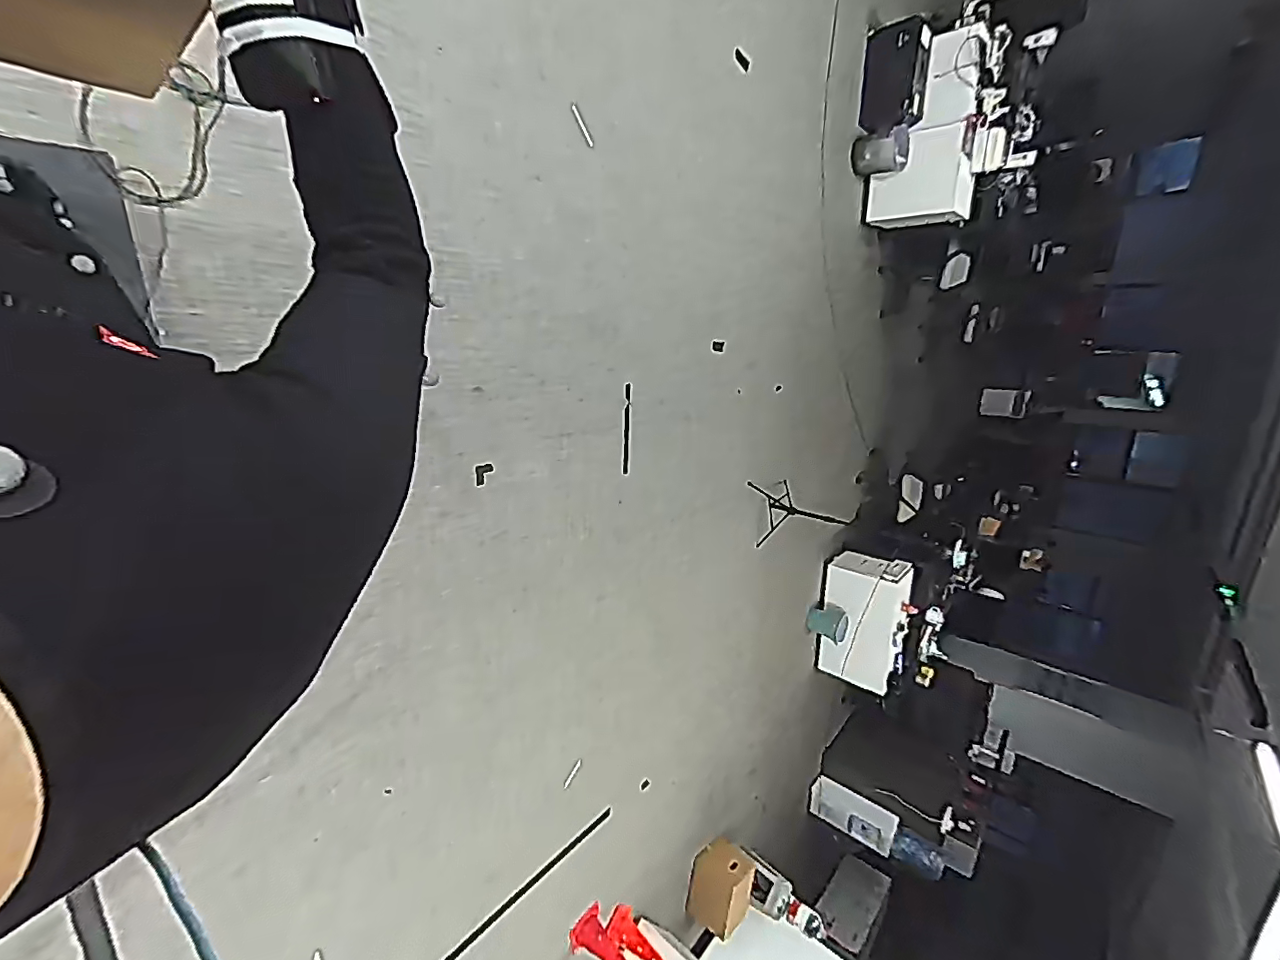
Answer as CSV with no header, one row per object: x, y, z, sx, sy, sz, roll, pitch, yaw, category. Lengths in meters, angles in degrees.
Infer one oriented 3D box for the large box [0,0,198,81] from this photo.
-0.497,-0.463,0.250,0.408,0.320,0.320,-16,114,-47,large box
